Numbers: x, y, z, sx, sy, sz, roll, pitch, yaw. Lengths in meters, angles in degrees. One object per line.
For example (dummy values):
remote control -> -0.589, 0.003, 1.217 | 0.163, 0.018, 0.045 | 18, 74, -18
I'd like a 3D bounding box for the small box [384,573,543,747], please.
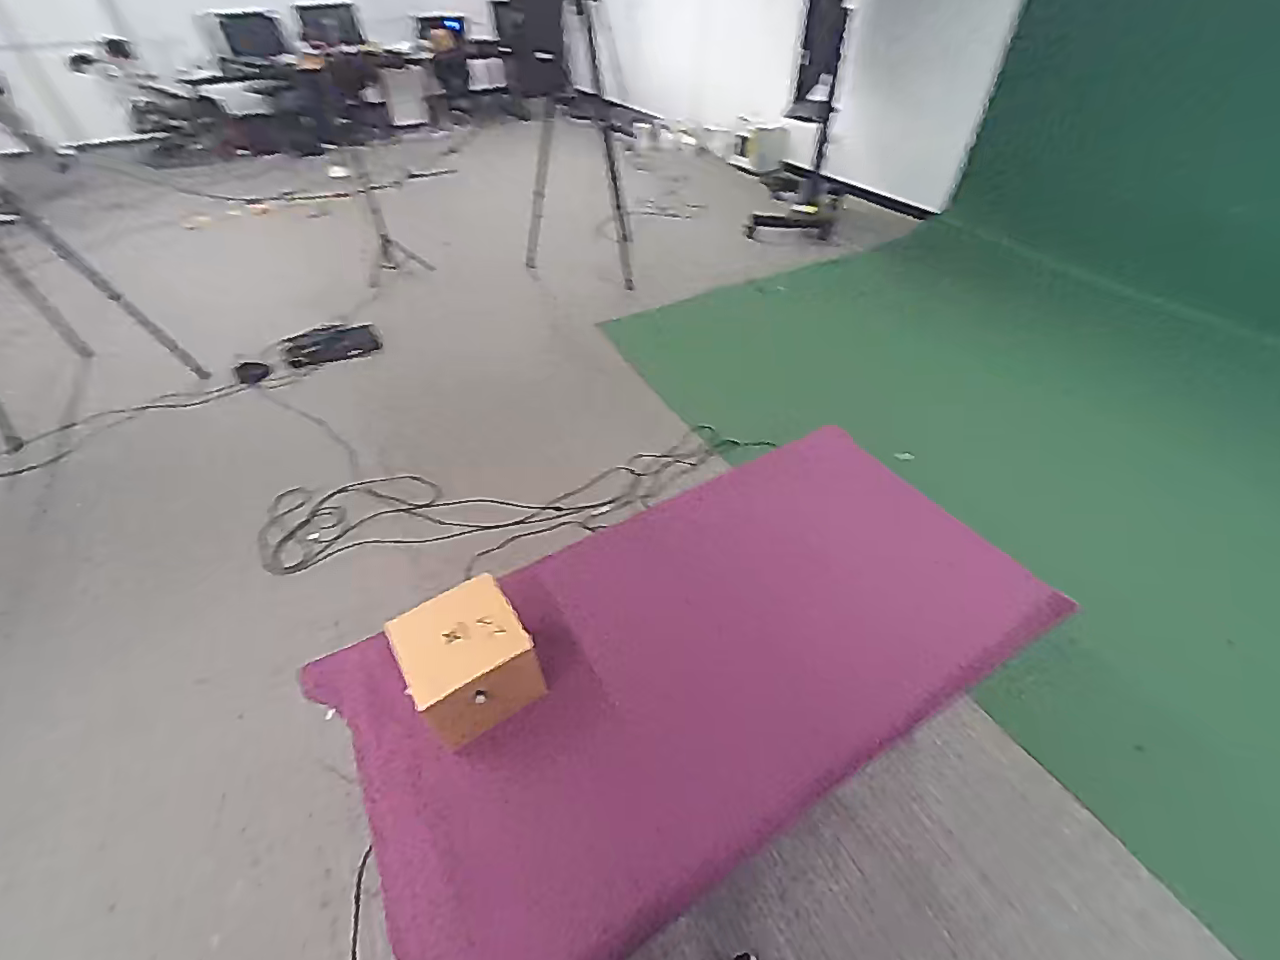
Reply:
small box -> -0.275, 0.290, 0.868 | 0.179, 0.176, 0.168 | -26, 50, -23
